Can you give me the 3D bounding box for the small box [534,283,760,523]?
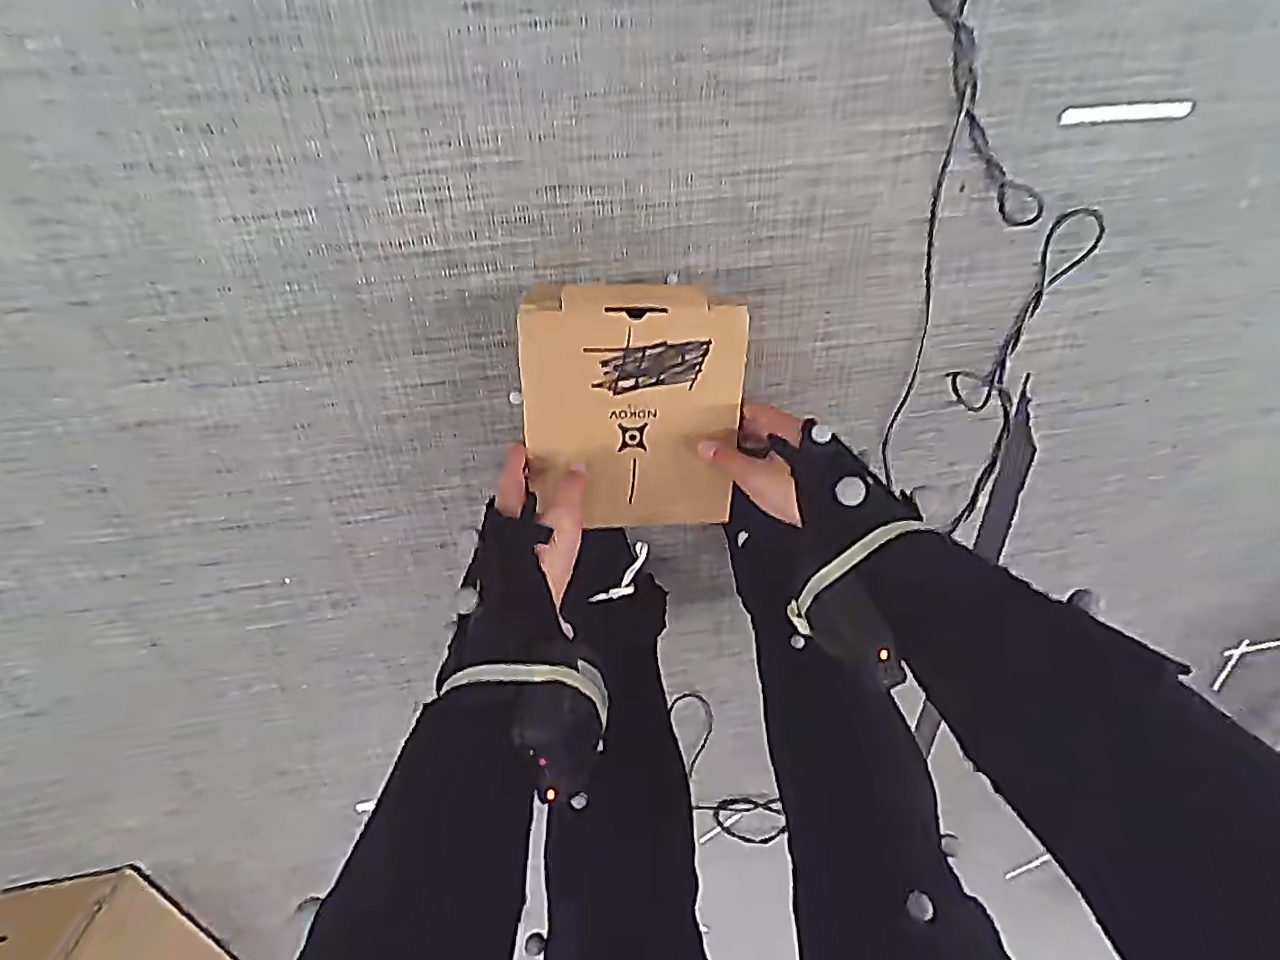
[{"bbox_3d":[-0.008,-0.078,0.480,0.168,0.176,0.179,-1,113,-8],"label":"small box"}]
